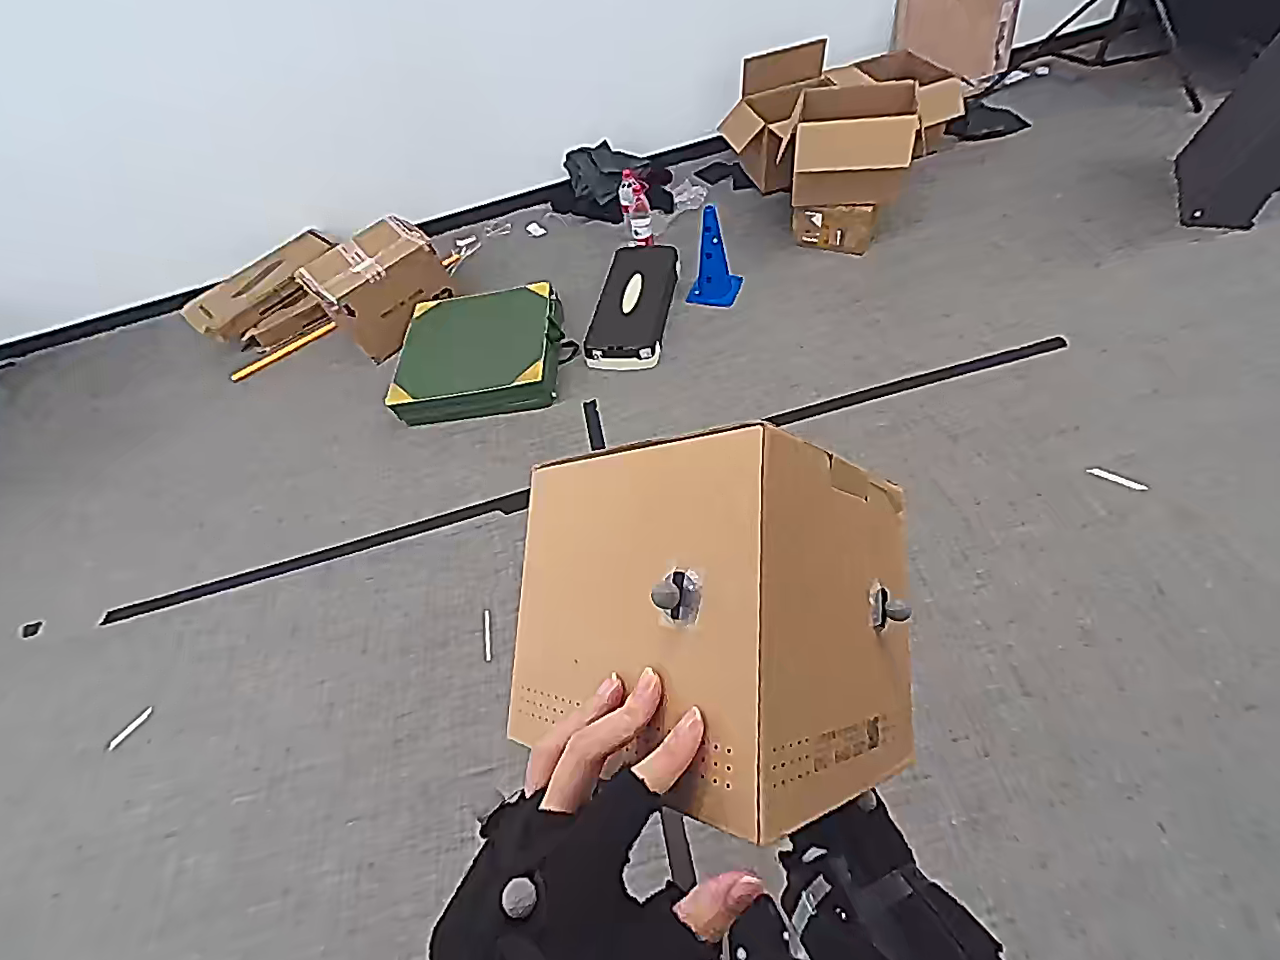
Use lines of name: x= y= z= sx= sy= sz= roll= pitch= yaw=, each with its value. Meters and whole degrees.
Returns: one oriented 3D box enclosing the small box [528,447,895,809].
small box: x=0.047 y=0.087 z=0.346 sx=0.179 sy=0.168 sz=0.176 roll=-9 pitch=73 yaw=45
